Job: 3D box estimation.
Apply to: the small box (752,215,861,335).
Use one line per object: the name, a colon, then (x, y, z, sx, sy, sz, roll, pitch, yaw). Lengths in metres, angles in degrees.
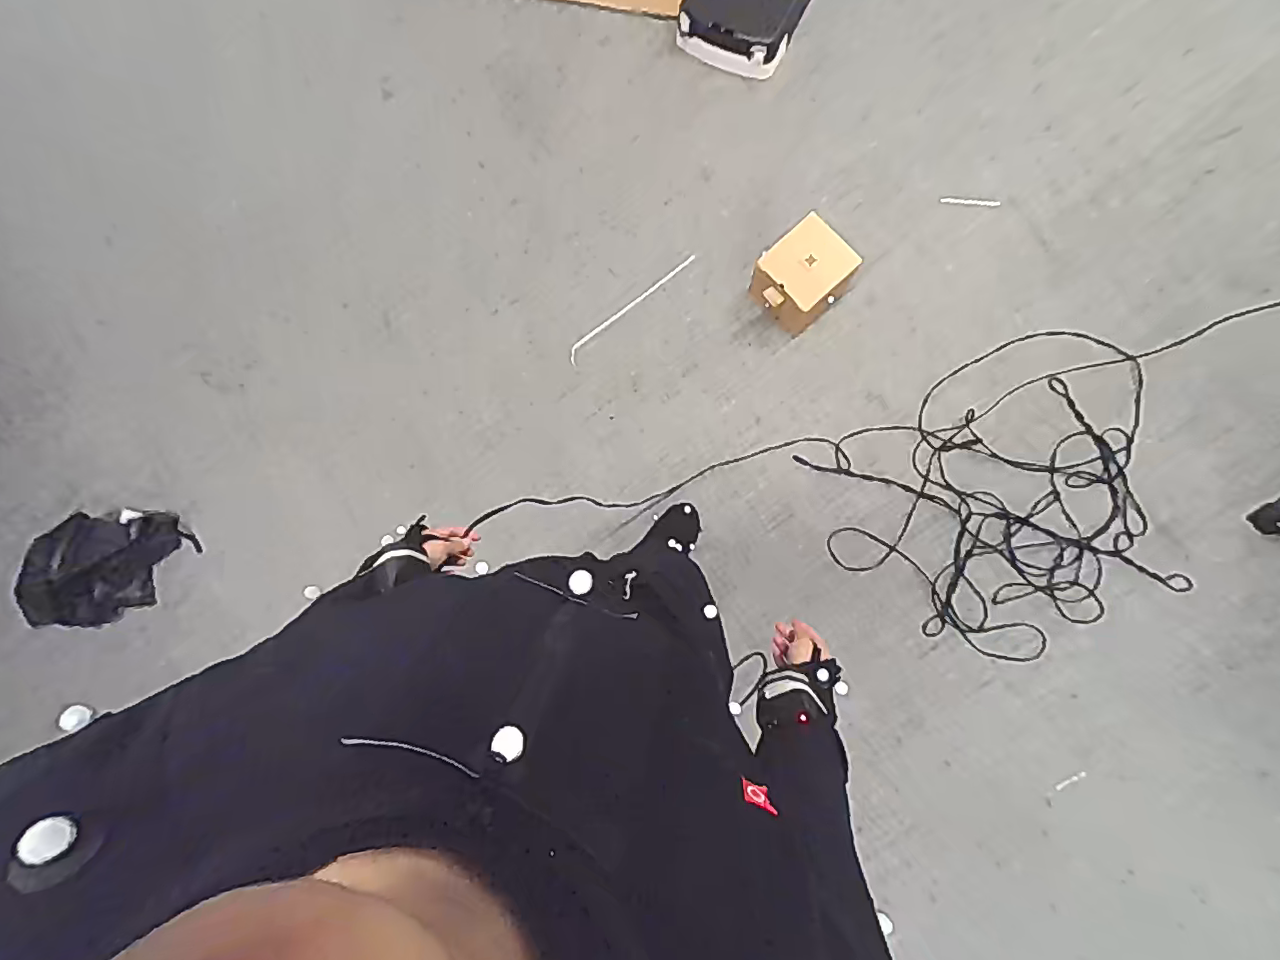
small box: (0.388, -0.483, 1.299, 0.179, 0.176, 0.168, -42, 83, 2)
